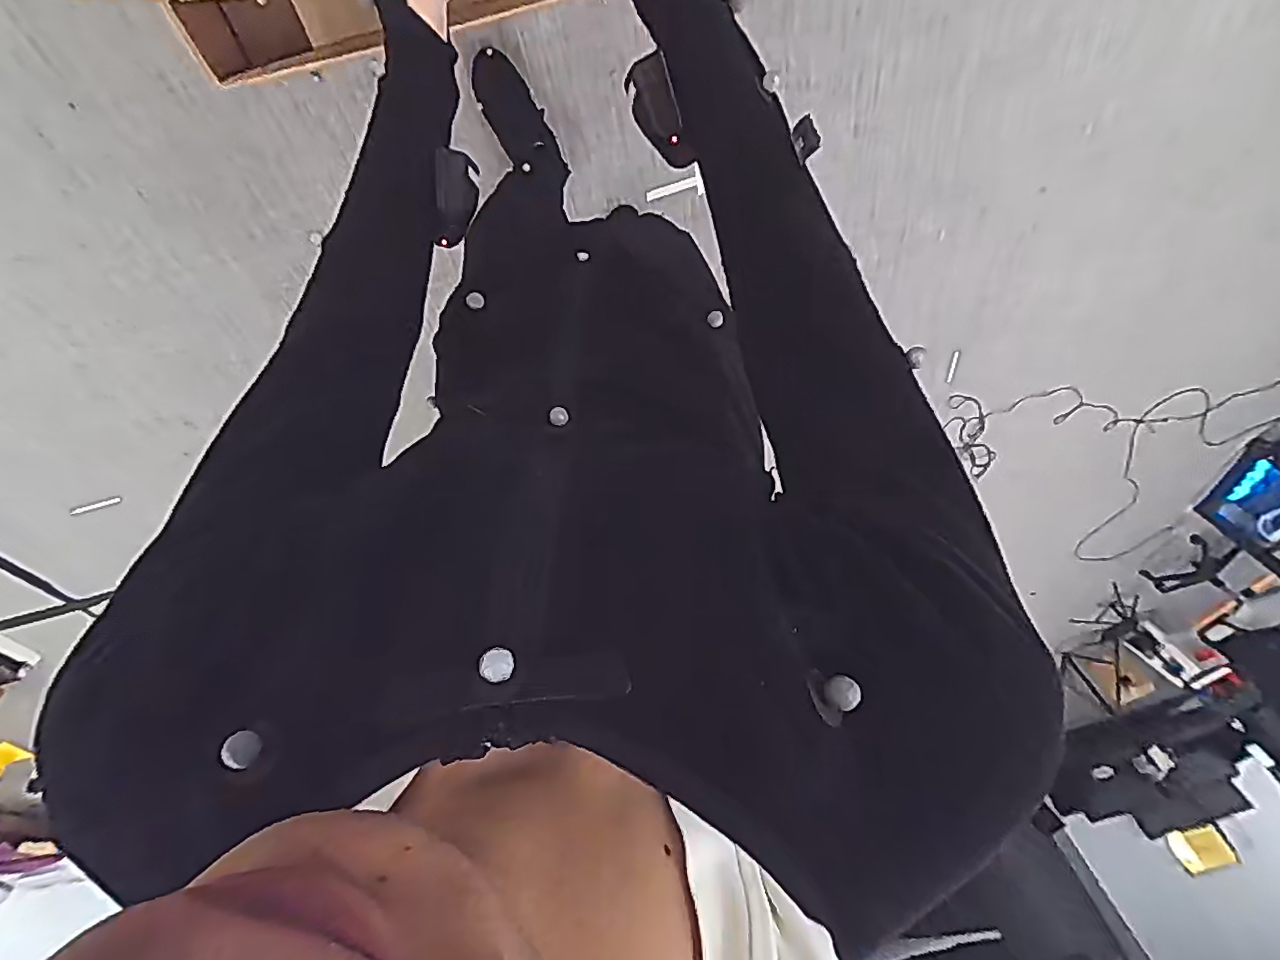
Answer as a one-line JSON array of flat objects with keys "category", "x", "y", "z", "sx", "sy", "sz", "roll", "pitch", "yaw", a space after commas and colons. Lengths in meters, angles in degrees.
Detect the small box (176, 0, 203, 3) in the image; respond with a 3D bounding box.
[{"category": "small box", "x": -0.385, "y": -0.573, "z": 0.491, "sx": 0.168, "sy": 0.176, "sz": 0.179, "roll": -19, "pitch": 133, "yaw": 2}]
